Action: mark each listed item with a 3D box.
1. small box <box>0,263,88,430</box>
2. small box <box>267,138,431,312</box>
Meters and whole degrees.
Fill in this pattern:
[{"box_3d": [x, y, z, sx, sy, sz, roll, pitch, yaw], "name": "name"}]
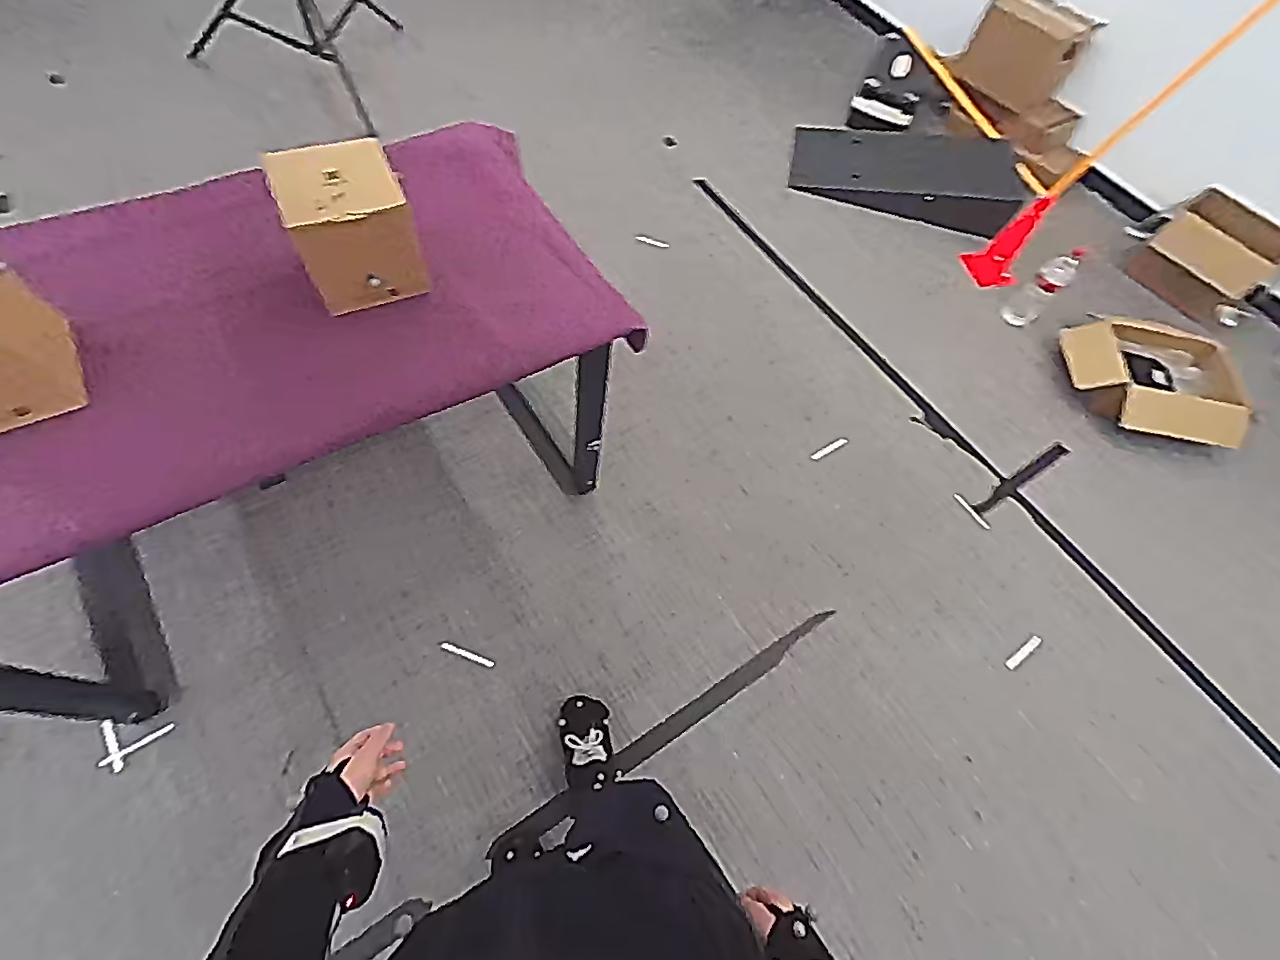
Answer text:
[{"box_3d": [-0.866, -0.174, 0.688, 0.168, 0.176, 0.179, -27, 69, -20], "name": "small box"}, {"box_3d": [-0.456, -0.404, 0.867, 0.168, 0.176, 0.179, -23, 68, -18], "name": "small box"}]
